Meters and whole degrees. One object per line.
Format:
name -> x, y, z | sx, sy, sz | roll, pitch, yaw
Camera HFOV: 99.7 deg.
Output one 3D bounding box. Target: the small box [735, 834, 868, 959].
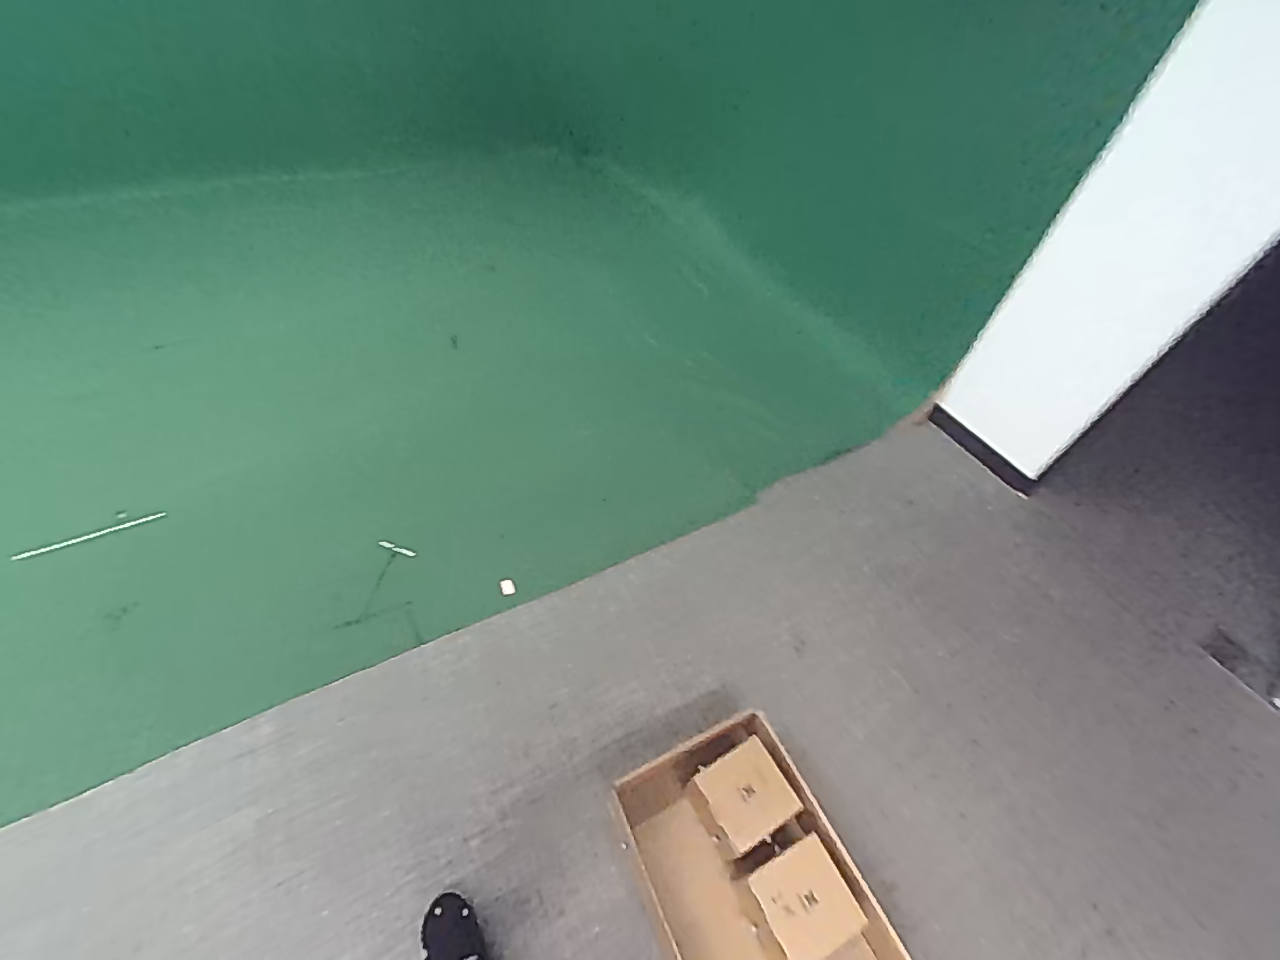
small box -> 0.315, 0.854, 1.097 | 0.179, 0.176, 0.168 | -19, 54, -18
